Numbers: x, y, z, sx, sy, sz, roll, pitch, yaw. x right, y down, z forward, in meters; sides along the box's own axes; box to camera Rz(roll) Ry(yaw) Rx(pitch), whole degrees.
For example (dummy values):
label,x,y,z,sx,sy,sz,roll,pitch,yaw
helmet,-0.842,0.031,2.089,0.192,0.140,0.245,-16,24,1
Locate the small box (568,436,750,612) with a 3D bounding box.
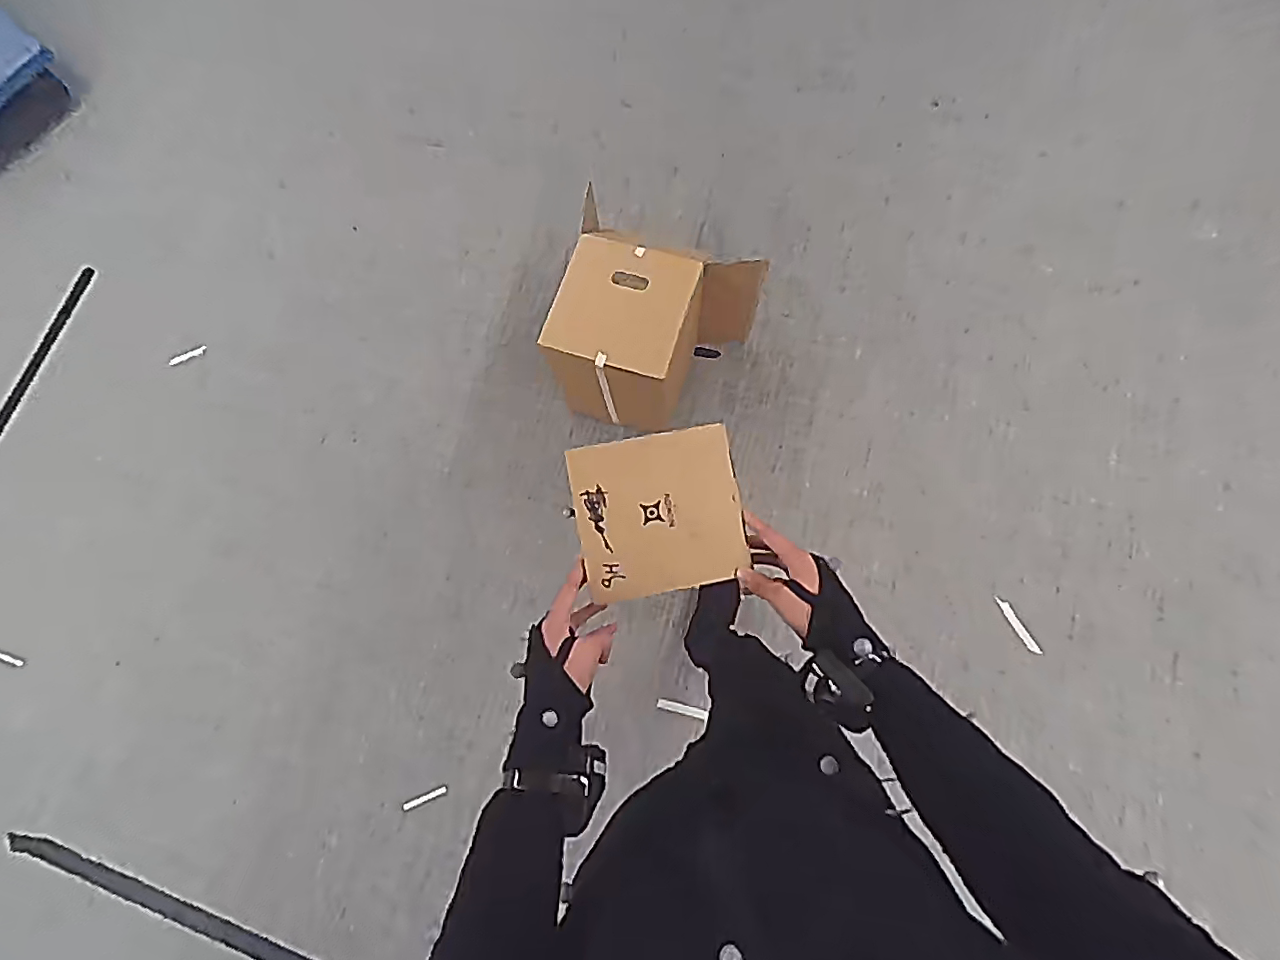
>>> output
label,x,y,z,sx,sy,sz,roll,pitch,yaw
small box,0.013,0.050,0.652,0.179,0.176,0.168,-10,86,-6
